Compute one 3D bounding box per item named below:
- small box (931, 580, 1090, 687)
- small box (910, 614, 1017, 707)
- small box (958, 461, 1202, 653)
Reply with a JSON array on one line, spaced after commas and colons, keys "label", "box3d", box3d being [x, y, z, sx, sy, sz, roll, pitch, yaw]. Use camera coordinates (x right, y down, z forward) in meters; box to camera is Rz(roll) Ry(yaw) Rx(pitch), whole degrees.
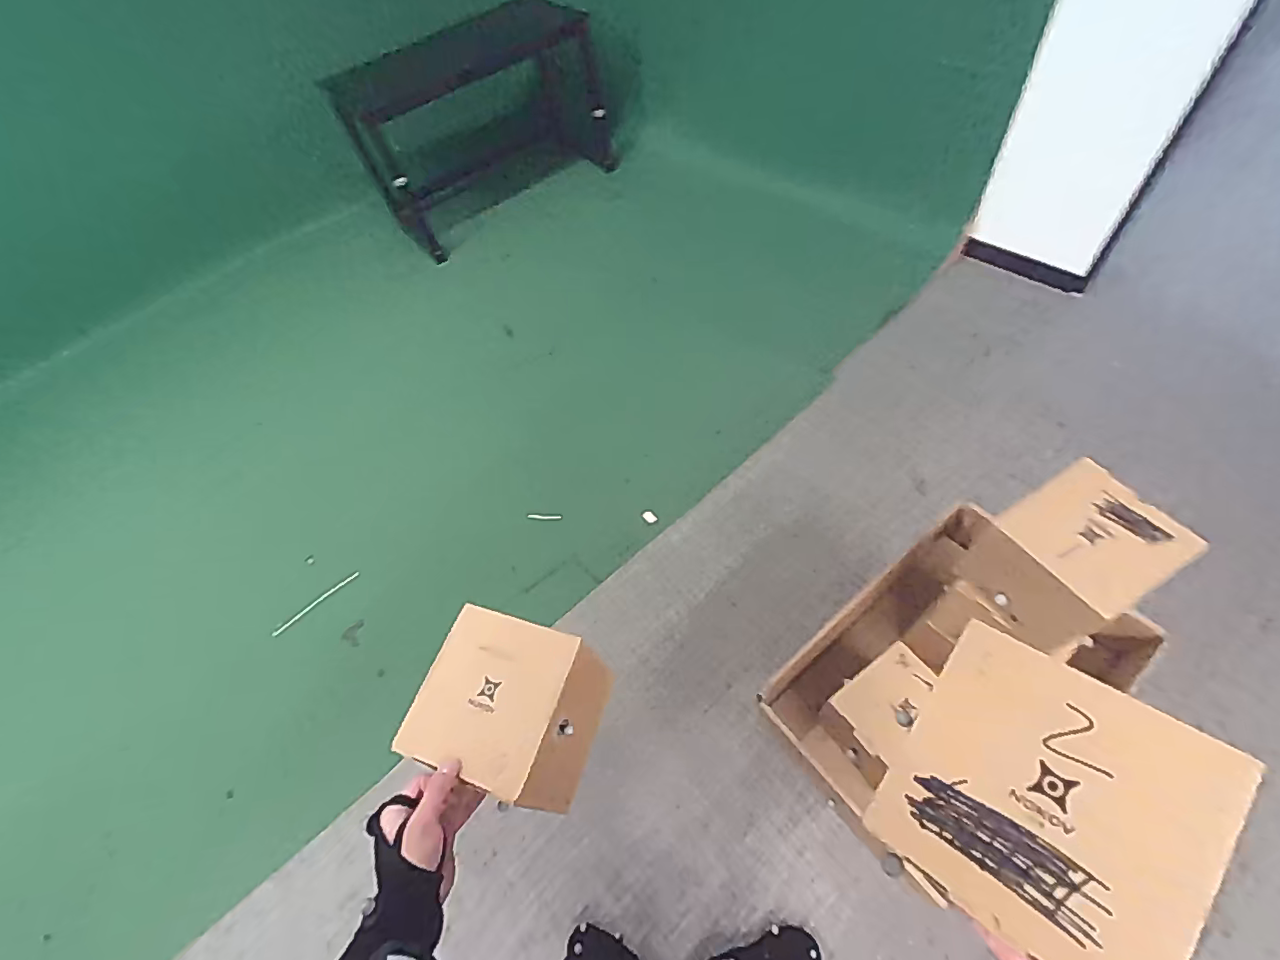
[{"label": "small box", "box3d": [0.616, 0.207, 0.888, 0.179, 0.176, 0.168, -39, 59, -14]}, {"label": "small box", "box3d": [0.644, 0.295, 1.021, 0.179, 0.176, 0.168, -38, 57, -14]}, {"label": "small box", "box3d": [0.590, 0.112, 0.756, 0.179, 0.176, 0.168, -31, 57, -9]}]
